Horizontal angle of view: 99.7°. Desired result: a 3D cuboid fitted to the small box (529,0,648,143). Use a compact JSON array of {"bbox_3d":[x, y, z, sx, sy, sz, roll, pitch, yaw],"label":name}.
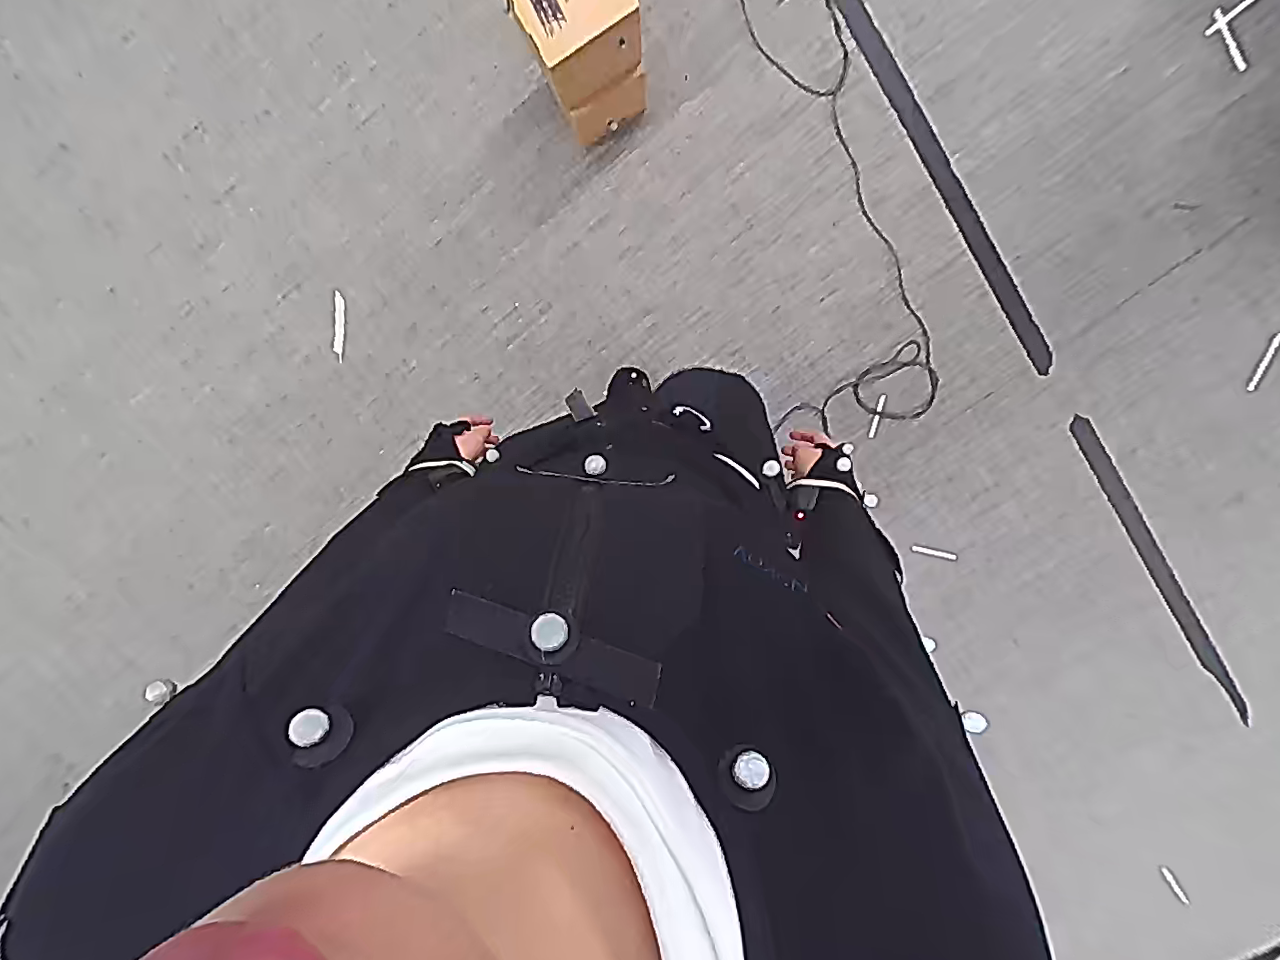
[{"bbox_3d":[-0.096,-0.823,1.080,0.168,0.176,0.179,-29,103,8],"label":"small box"}]
